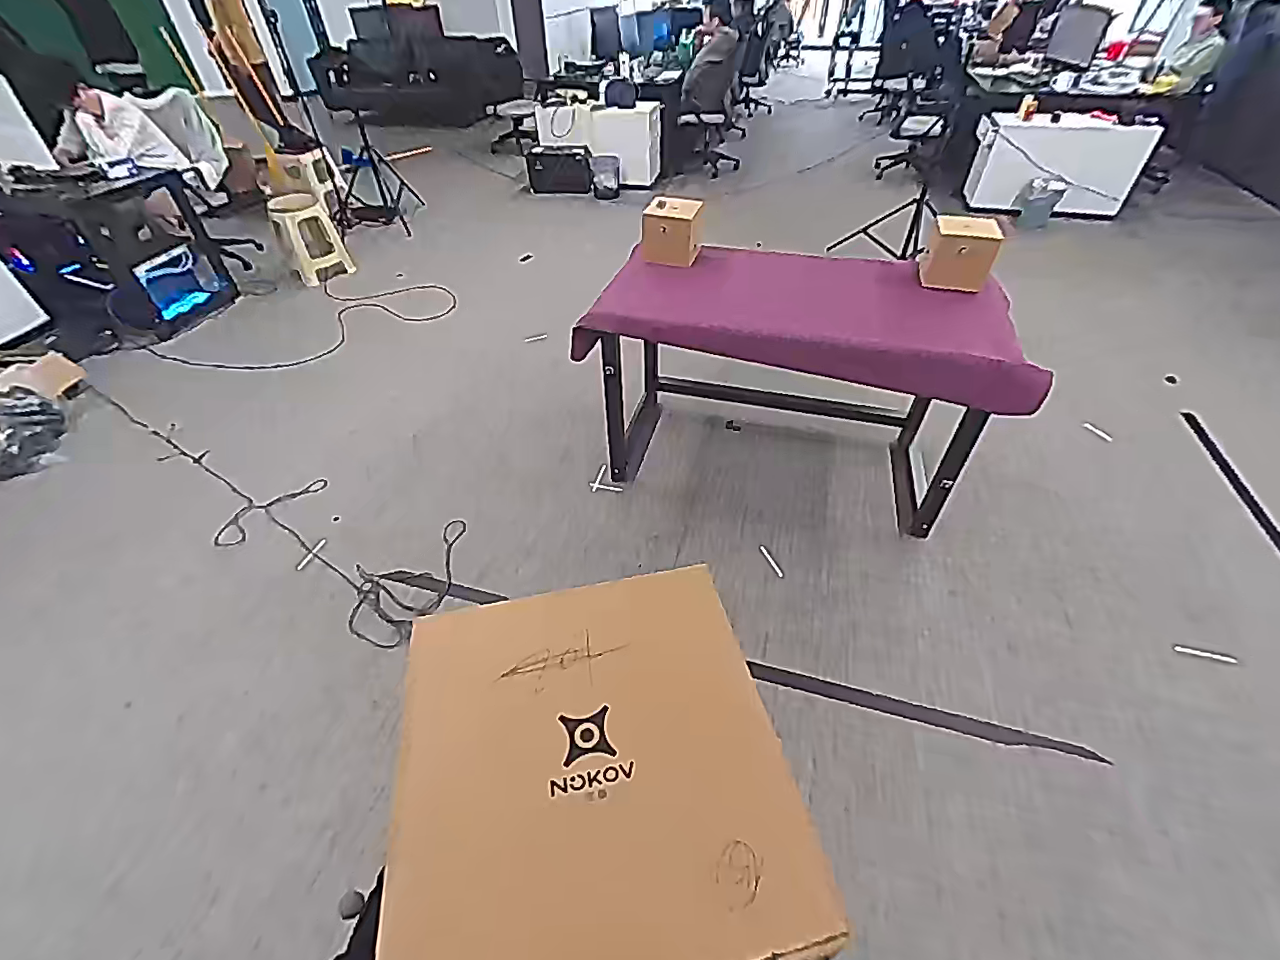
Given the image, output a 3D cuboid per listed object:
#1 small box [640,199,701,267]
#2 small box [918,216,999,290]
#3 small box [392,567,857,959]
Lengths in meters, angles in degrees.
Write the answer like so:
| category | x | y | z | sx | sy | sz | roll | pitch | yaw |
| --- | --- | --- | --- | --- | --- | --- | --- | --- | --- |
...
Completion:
| category | x | y | z | sx | sy | sz | roll | pitch | yaw |
| --- | --- | --- | --- | --- | --- | --- | --- | --- | --- |
| small box | 0.107 | -0.867 | 1.899 | 0.179 | 0.176 | 0.168 | 13 | 48 | 13 |
| small box | 1.000 | -0.720 | 1.718 | 0.179 | 0.176 | 0.168 | 11 | 46 | 12 |
| small box | -0.017 | 0.179 | 0.292 | 0.168 | 0.176 | 0.179 | -9 | 41 | -10 |
